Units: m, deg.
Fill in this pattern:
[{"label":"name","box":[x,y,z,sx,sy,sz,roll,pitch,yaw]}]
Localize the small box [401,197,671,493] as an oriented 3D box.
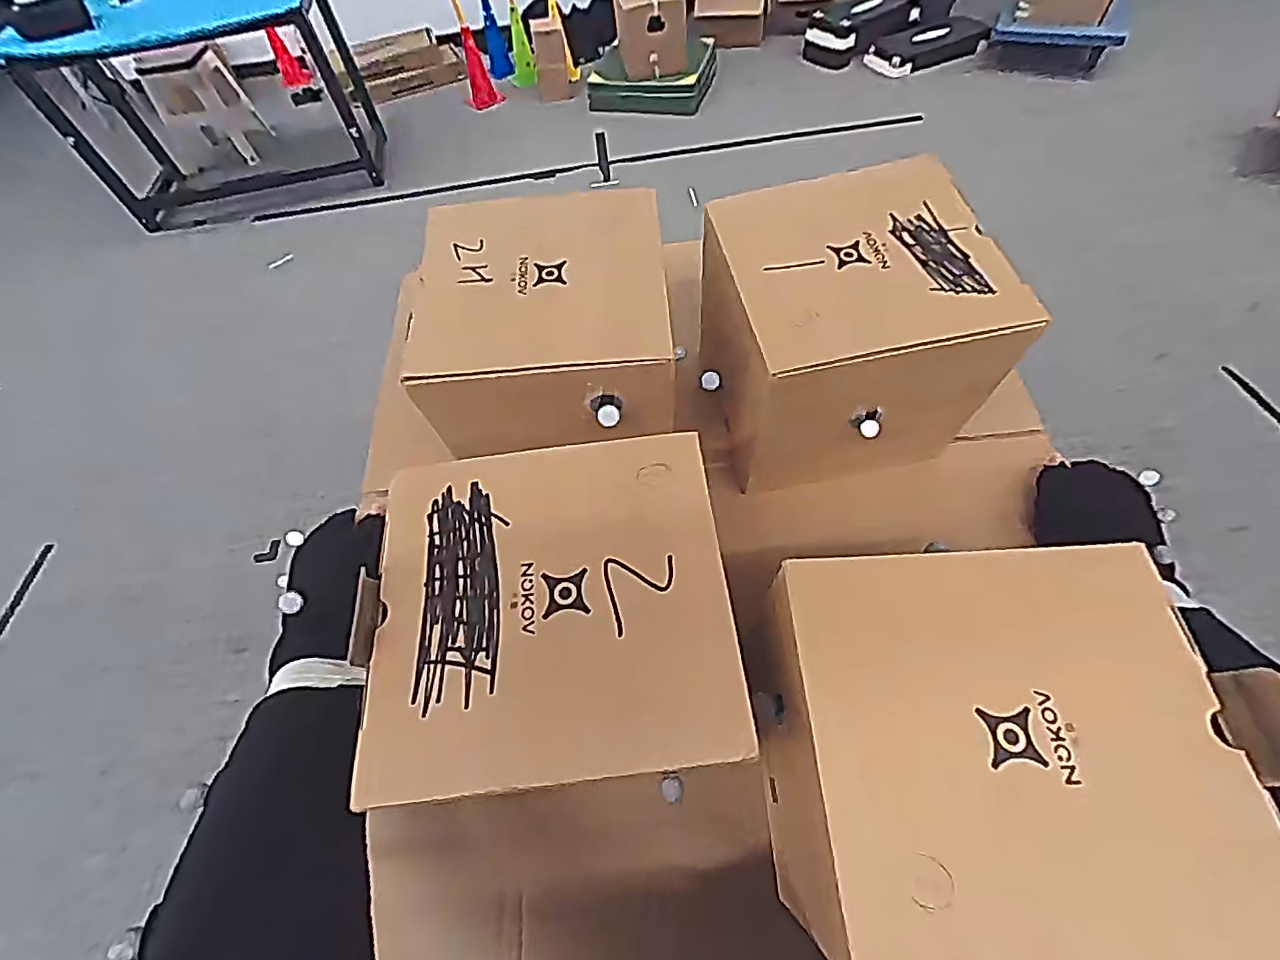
[{"label":"small box","box":[-0.067,-0.101,0.451,0.179,0.176,0.168,-5,62,2]}]
